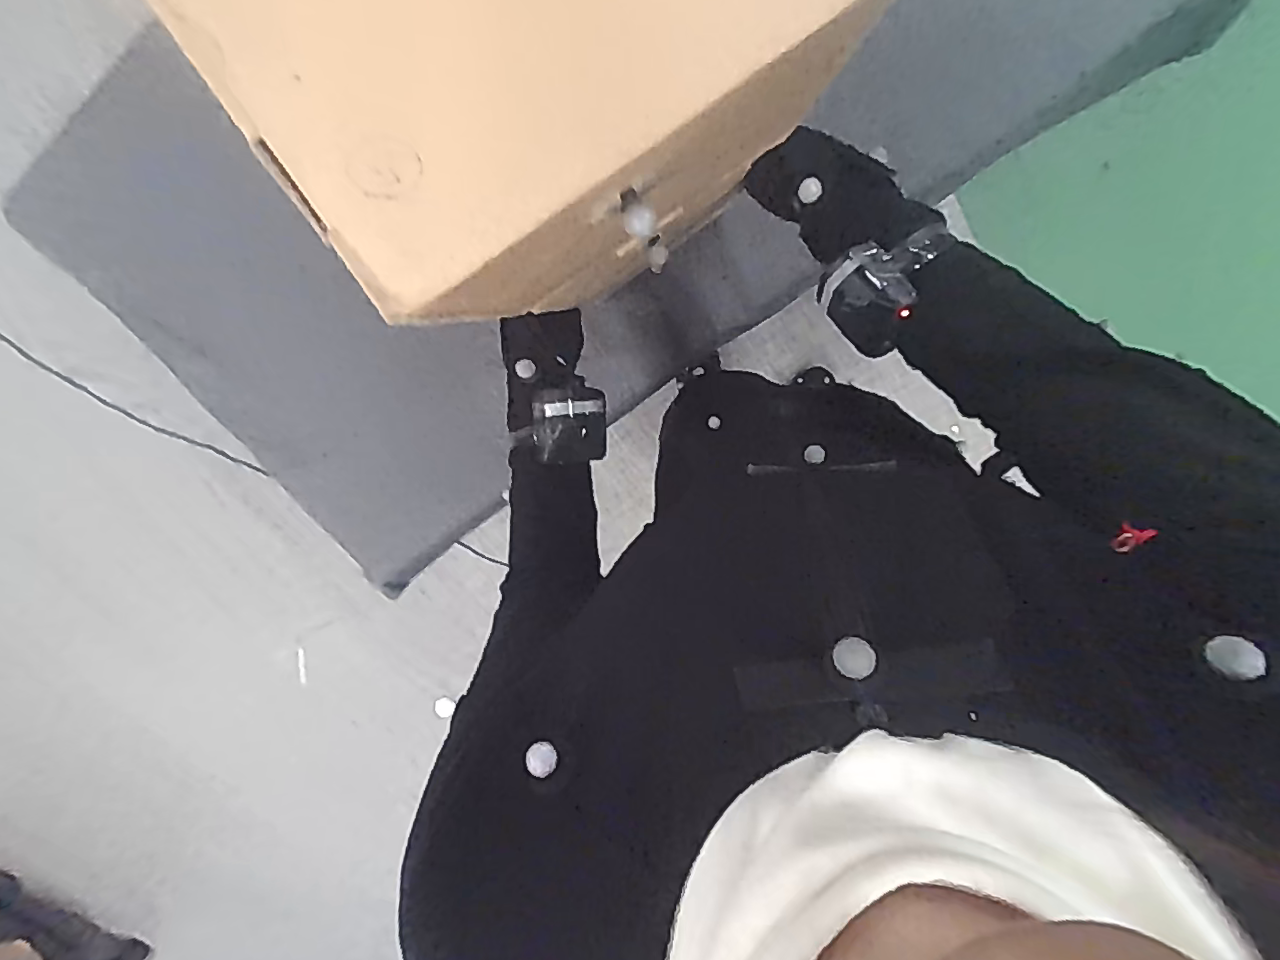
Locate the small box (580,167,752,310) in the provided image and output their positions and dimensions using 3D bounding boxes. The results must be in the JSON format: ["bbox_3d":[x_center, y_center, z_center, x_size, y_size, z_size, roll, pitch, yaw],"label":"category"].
[{"bbox_3d":[-0.024,-0.283,0.508,0.179,0.176,0.168,-36,104,12],"label":"small box"}]

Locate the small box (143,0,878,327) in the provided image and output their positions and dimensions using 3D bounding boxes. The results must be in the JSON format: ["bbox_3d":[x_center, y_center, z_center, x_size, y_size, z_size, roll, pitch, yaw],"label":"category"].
[{"bbox_3d":[-0.042,-0.176,0.201,0.179,0.176,0.168,-30,106,11],"label":"small box"}]
